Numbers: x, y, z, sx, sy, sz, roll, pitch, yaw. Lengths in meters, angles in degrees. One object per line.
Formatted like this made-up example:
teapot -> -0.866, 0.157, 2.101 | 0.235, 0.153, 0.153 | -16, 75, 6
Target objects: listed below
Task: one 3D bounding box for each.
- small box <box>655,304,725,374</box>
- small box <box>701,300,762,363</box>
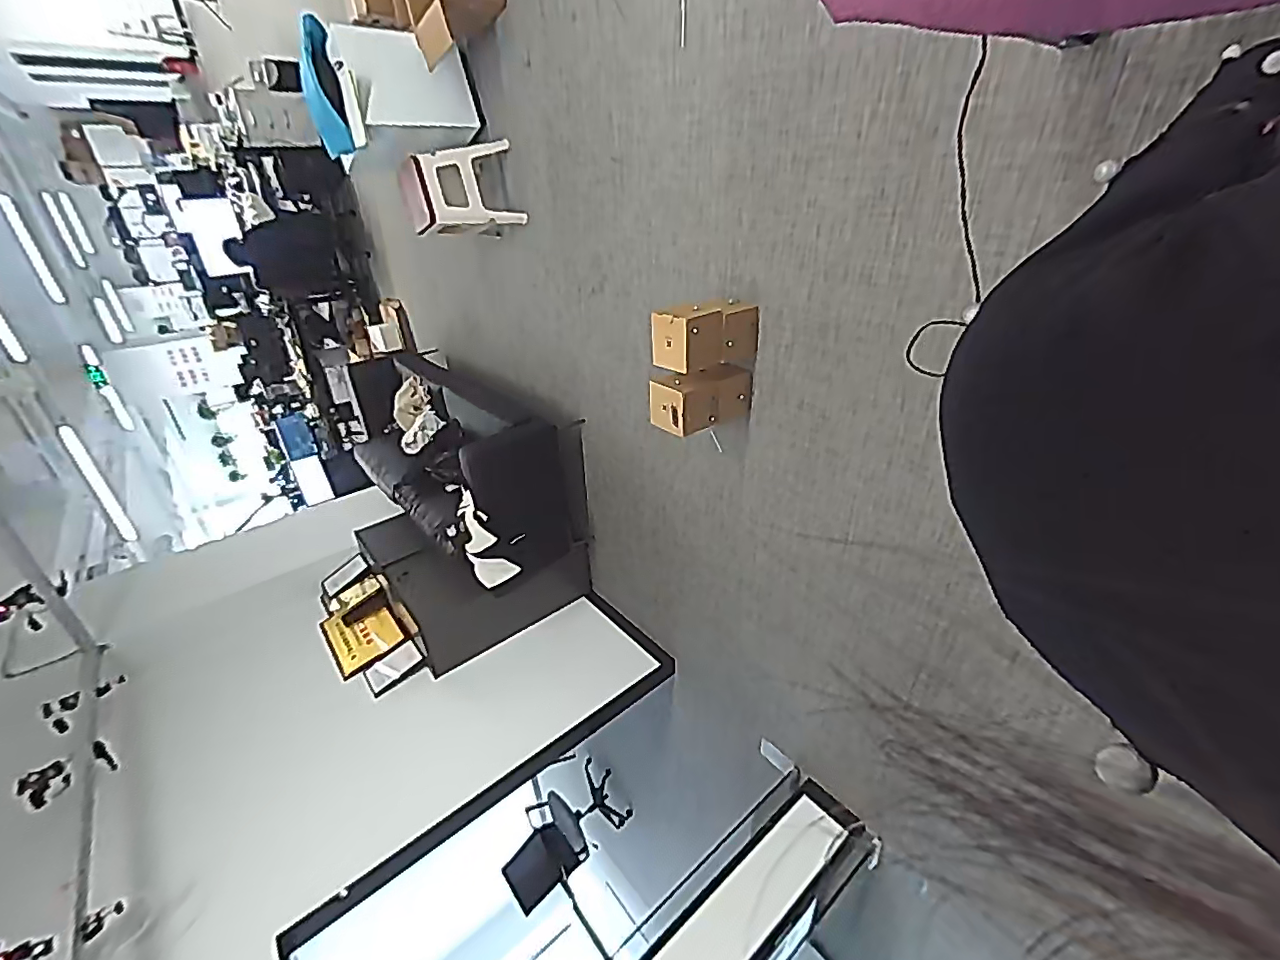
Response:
small box -> 0.167, -0.469, 1.784 | 0.168, 0.176, 0.179 | 27, 130, 44
small box -> 0.296, -0.519, 1.872 | 0.179, 0.176, 0.168 | 29, 133, 44
